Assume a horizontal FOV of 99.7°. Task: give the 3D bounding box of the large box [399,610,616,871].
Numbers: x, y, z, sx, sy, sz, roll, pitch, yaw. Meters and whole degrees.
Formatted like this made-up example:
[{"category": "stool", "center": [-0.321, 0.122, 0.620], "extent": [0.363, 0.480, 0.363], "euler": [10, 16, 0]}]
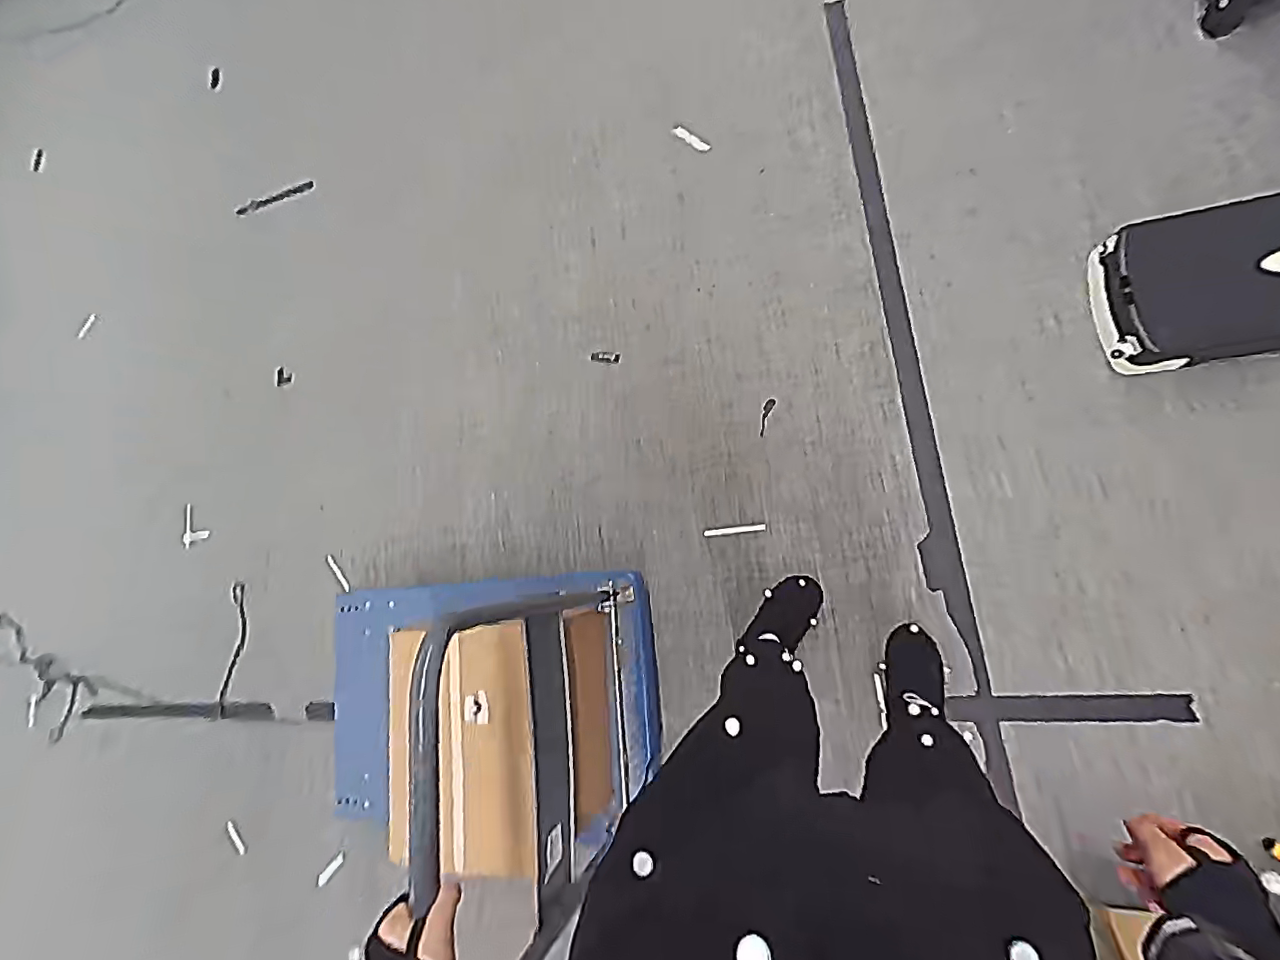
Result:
[{"category": "large box", "center": [-0.257, 0.489, 1.102], "extent": [0.320, 0.320, 0.408], "euler": [-8, 79, 18]}]
